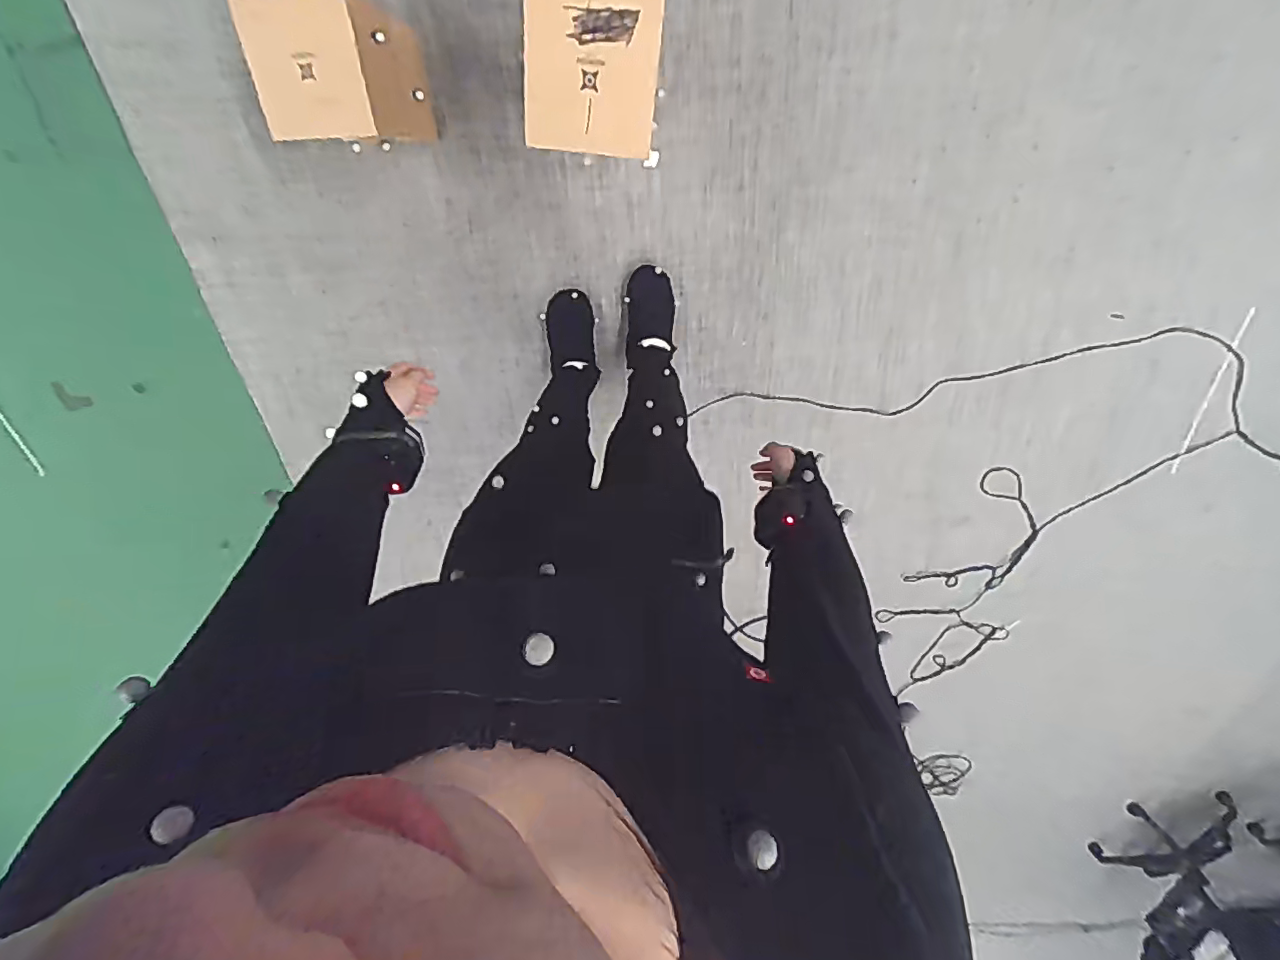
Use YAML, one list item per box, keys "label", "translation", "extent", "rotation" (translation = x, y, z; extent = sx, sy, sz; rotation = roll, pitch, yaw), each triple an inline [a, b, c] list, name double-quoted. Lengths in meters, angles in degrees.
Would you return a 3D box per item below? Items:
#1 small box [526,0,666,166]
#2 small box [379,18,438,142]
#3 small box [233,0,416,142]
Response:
- label: "small box"
  translation: [-0.062, -0.545, 0.741]
  extent: [0.168, 0.176, 0.179]
  rotation: [5, 123, -4]
- label: "small box"
  translation: [-0.490, -0.732, 0.999]
  extent: [0.168, 0.176, 0.179]
  rotation: [0, 123, -1]
- label: "small box"
  translation: [-0.484, -0.645, 0.862]
  extent: [0.168, 0.176, 0.179]
  rotation: [-2, 123, 1]
